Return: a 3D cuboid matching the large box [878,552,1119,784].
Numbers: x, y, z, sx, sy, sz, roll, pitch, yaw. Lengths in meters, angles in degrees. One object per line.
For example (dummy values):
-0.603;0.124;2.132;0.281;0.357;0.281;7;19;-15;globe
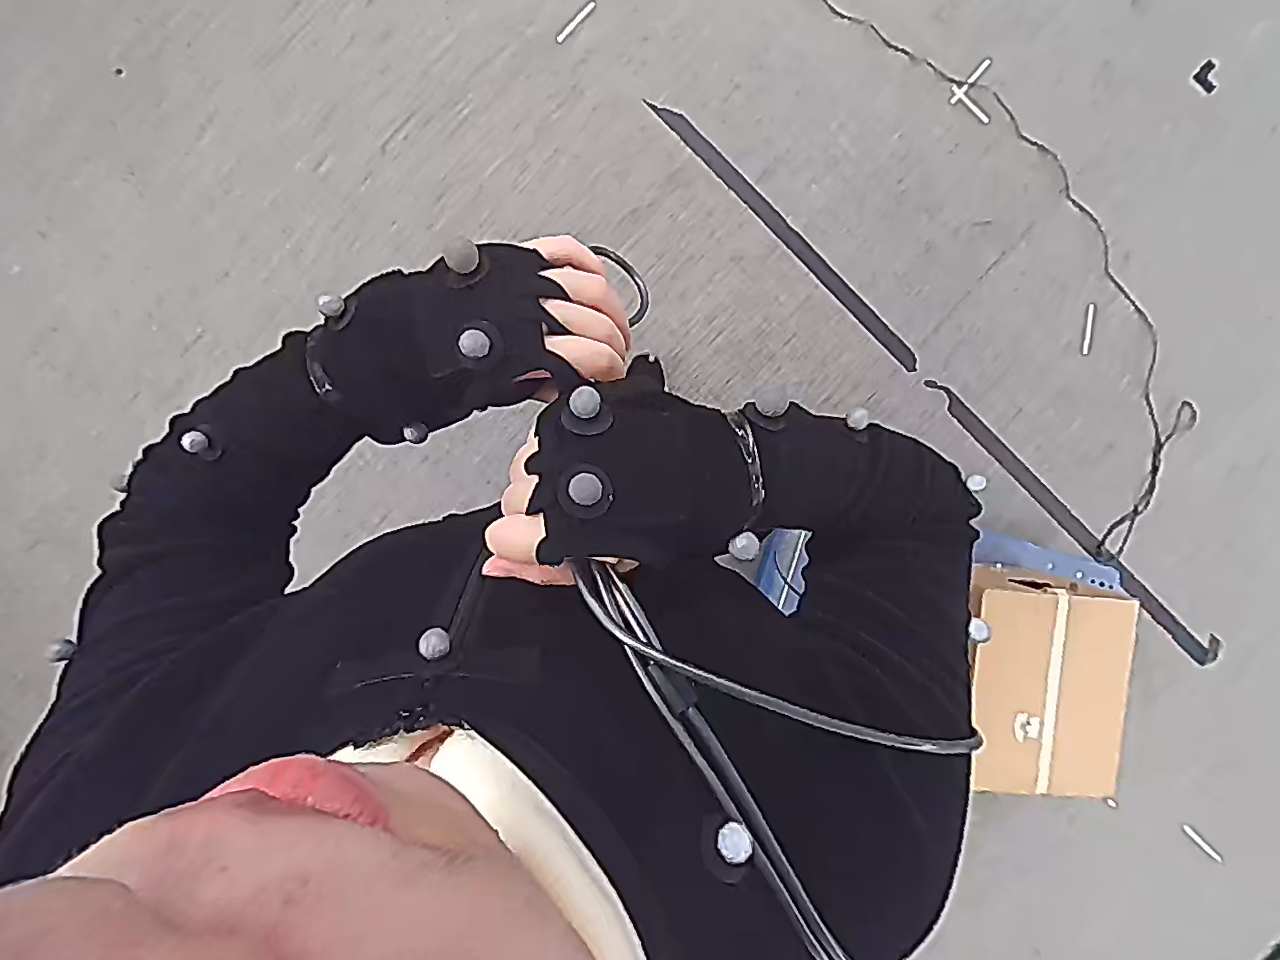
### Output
0.774;0.394;1.220;0.320;0.320;0.408;5;94;-1;large box
